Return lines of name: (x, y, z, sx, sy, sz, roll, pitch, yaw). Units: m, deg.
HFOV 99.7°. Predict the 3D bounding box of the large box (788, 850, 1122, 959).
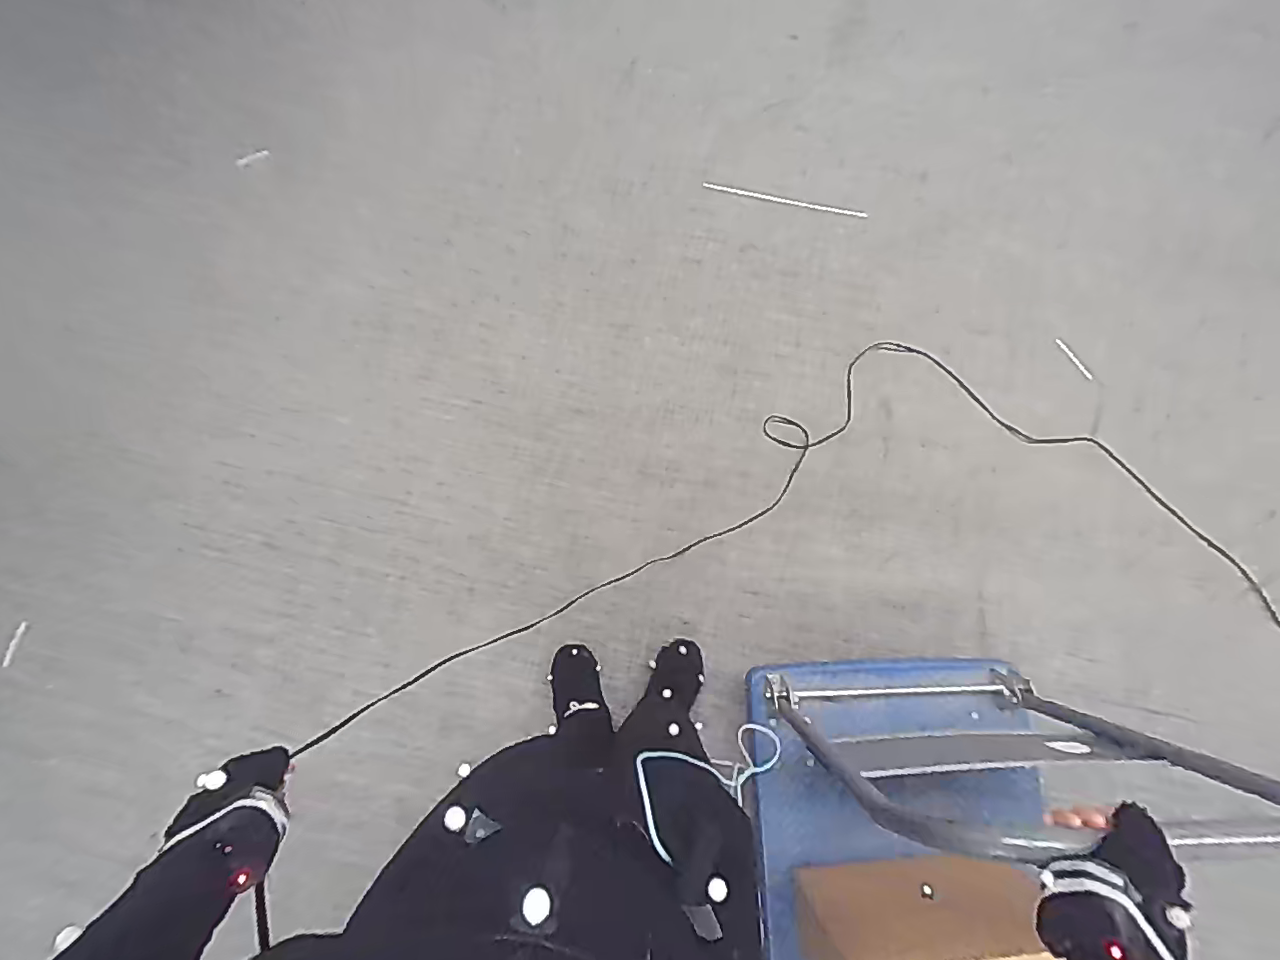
large box: (0.503, 0.860, 0.883, 0.408, 0.320, 0.320, -5, 78, -3)
